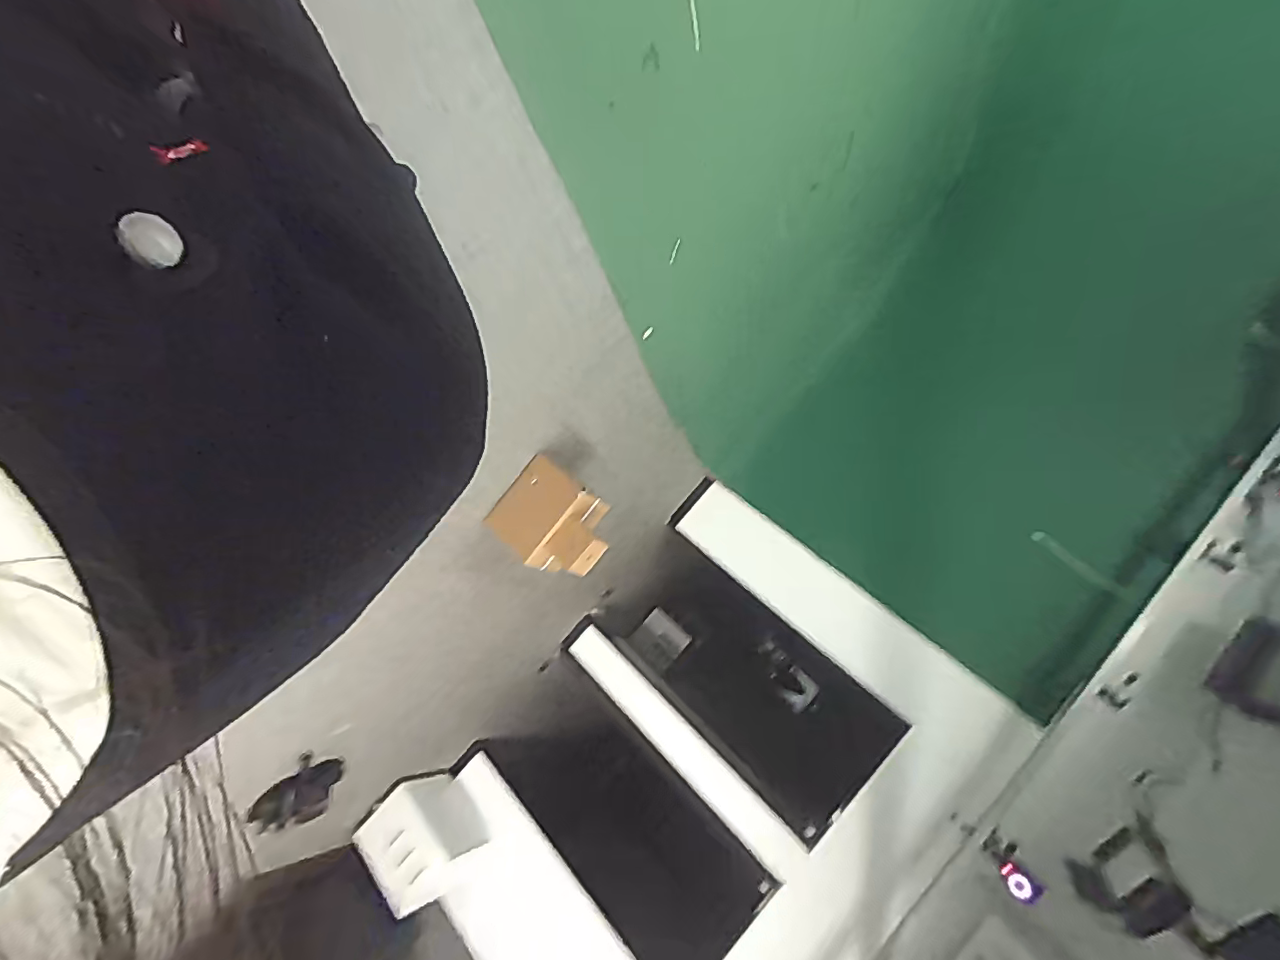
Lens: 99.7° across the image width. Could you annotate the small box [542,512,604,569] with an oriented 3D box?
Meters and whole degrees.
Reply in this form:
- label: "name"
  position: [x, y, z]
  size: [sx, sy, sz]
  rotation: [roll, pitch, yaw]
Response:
- label: "small box"
  position: [-0.296, 0.264, 2.370]
  size: [0.179, 0.176, 0.168]
  rotation: [-50, 154, 0]
